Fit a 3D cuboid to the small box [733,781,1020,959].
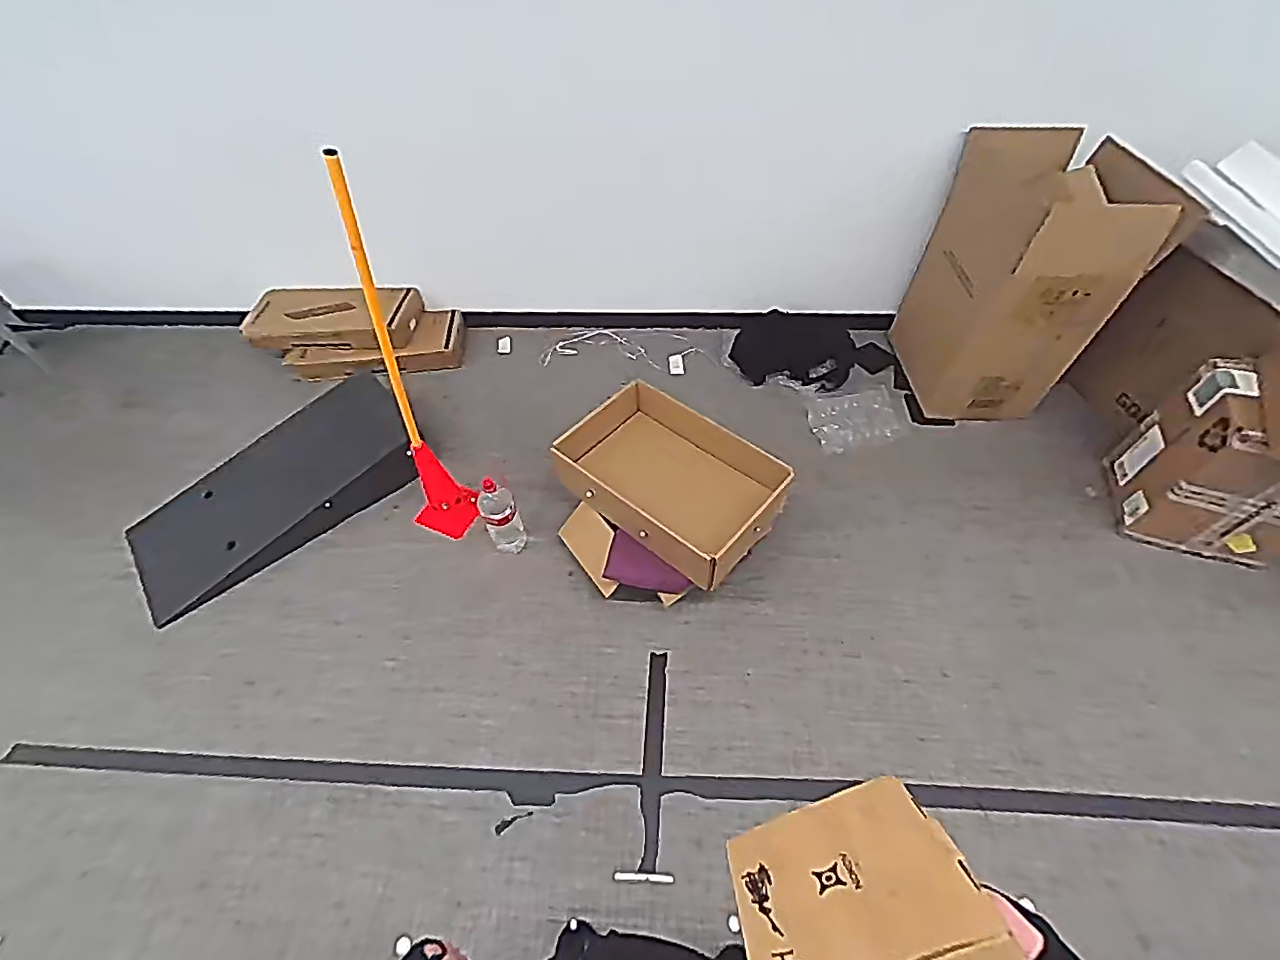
[{"bbox_3d":[0.198,0.401,0.447,0.179,0.168,0.176,-23,92,2],"label":"small box"}]
